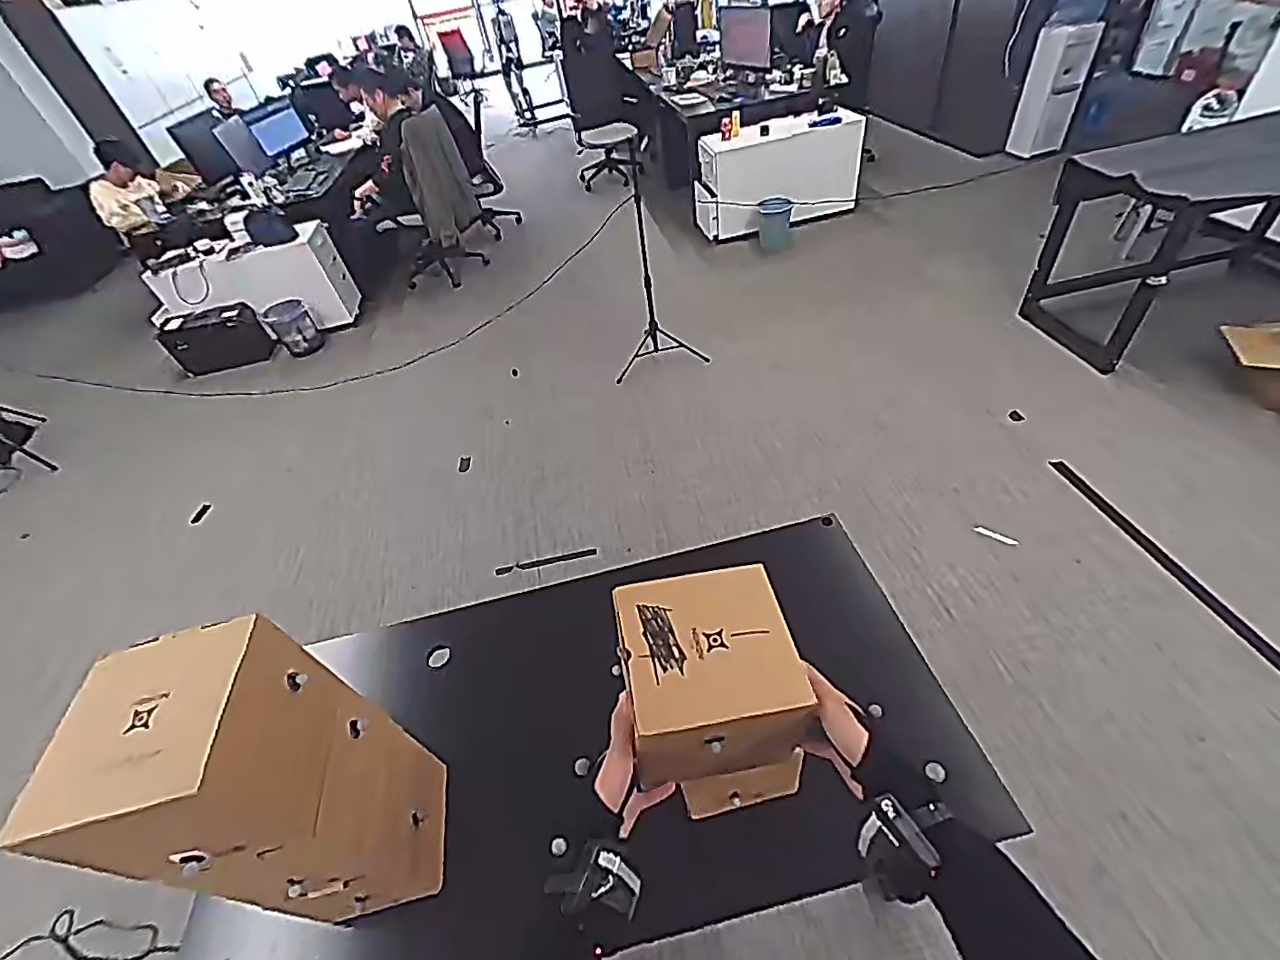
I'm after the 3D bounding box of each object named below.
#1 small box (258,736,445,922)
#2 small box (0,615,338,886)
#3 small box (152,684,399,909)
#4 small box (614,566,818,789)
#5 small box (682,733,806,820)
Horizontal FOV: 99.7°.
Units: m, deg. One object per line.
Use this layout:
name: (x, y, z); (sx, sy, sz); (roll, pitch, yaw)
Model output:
small box: (-0.391, 0.501, 0.772); (0.168, 0.176, 0.179); (-15, 45, -4)
small box: (-0.436, 0.270, 0.543); (0.168, 0.176, 0.179); (-15, 45, -3)
small box: (-0.414, 0.384, 0.657); (0.168, 0.176, 0.179); (-15, 44, -3)
small box: (0.072, 0.222, 0.604); (0.179, 0.176, 0.168); (-8, 46, -6)
small box: (0.129, 0.369, 0.801); (0.168, 0.176, 0.179); (-14, 45, -3)
